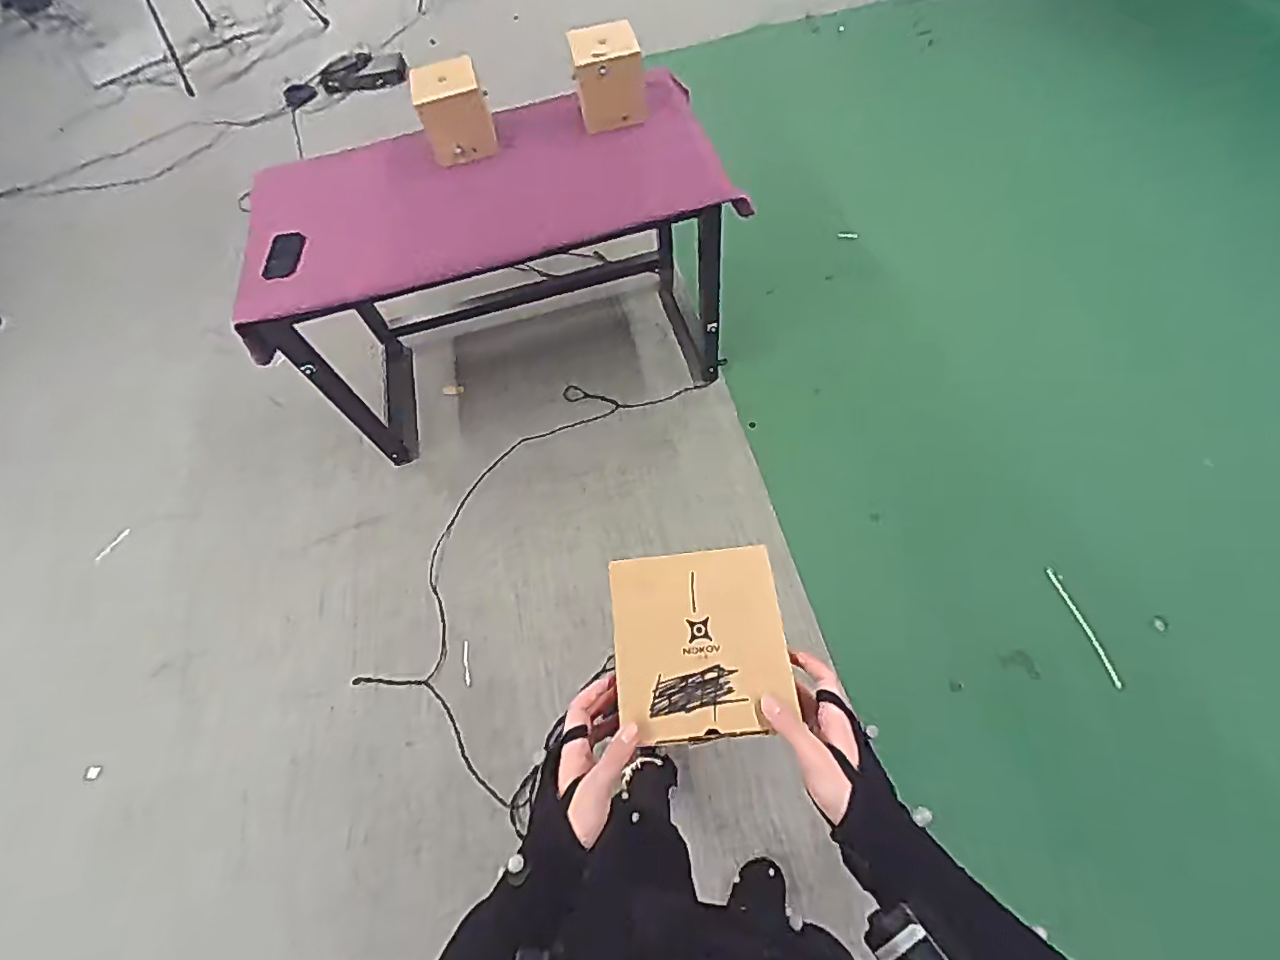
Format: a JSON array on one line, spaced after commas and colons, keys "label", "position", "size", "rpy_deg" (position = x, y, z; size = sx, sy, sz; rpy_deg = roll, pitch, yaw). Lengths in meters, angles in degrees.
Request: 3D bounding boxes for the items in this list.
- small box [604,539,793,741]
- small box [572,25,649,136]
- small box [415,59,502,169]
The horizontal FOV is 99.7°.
[{"label": "small box", "position": [0.056, 0.179, 0.590], "size": [0.168, 0.176, 0.179], "rpy_deg": [-7, 65, 1]}, {"label": "small box", "position": [-0.075, -1.054, 1.433], "size": [0.168, 0.176, 0.179], "rpy_deg": [-13, 61, 1]}, {"label": "small box", "position": [-0.477, -0.967, 1.434], "size": [0.168, 0.176, 0.179], "rpy_deg": [-16, 62, -1]}]
